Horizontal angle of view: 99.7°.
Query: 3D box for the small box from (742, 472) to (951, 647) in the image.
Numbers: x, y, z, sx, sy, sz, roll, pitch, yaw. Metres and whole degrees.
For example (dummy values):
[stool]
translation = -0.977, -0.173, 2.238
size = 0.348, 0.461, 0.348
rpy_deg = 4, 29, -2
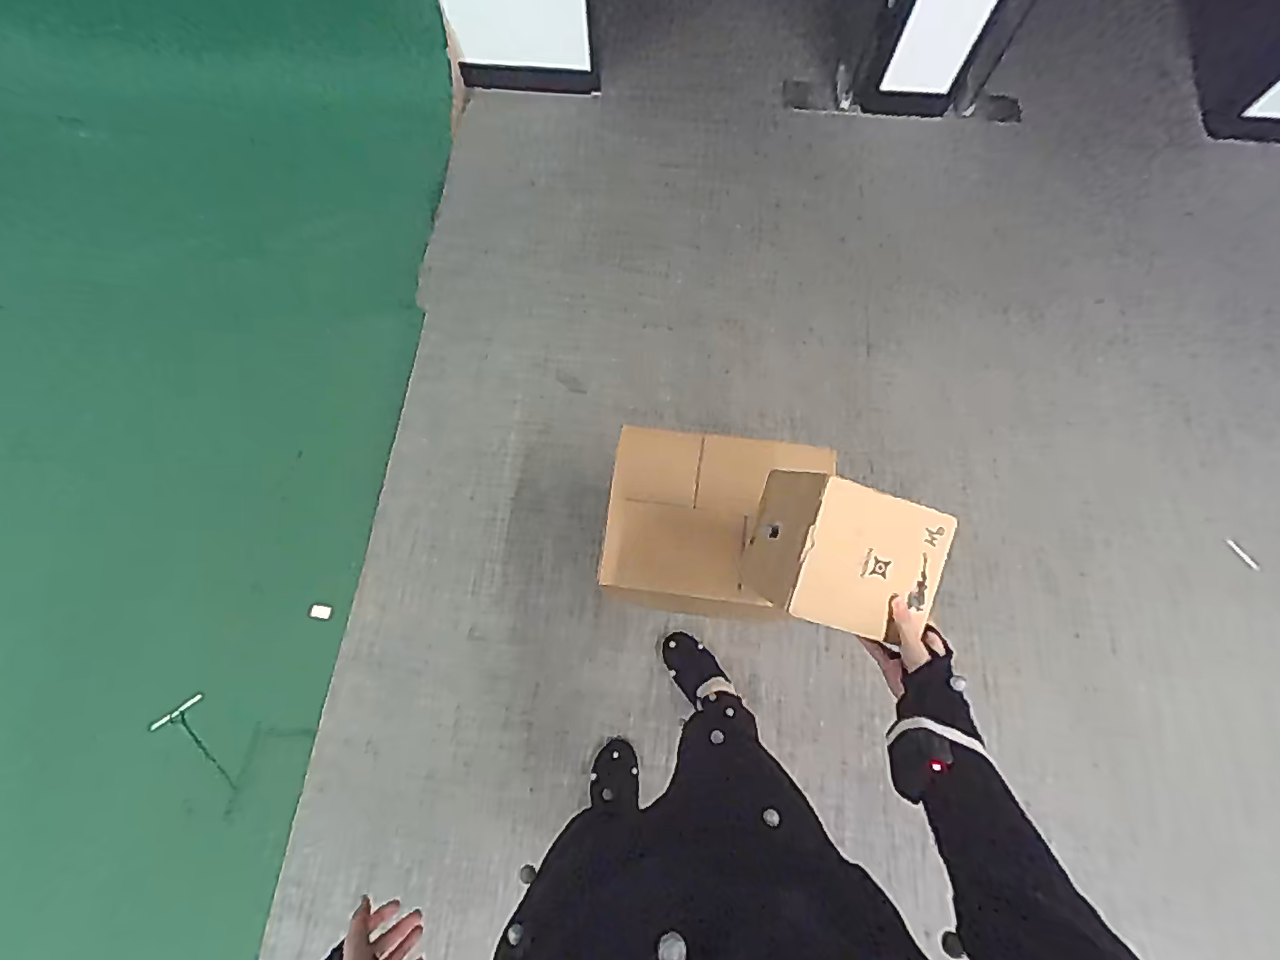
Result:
[small box]
translation = 0.251, 0.092, 0.702
size = 0.179, 0.176, 0.168
rpy_deg = 17, 90, -8
